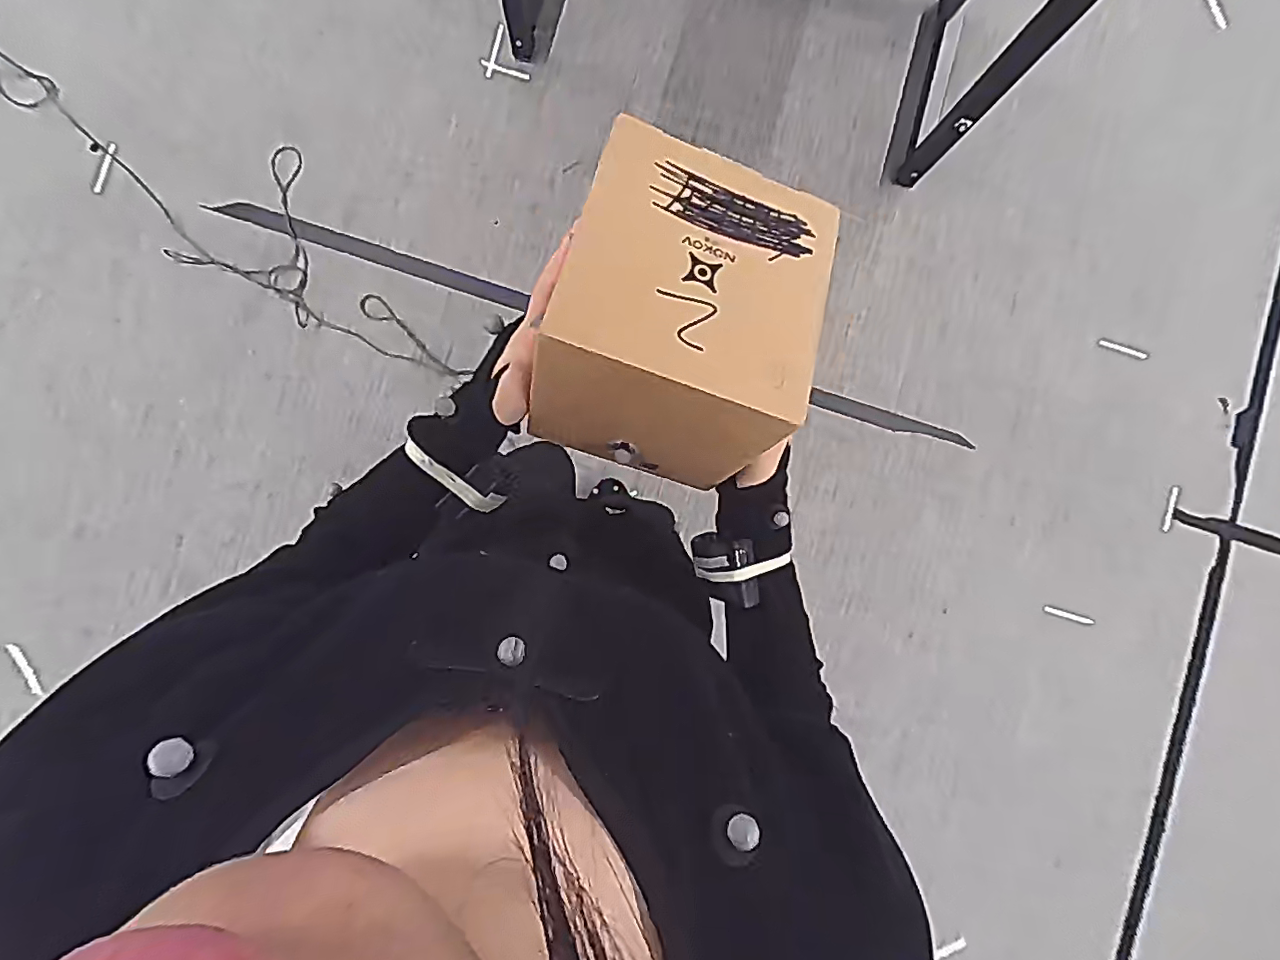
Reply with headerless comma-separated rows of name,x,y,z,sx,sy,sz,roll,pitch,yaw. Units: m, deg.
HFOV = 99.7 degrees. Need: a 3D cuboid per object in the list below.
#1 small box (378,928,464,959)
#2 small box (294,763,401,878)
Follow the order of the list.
small box,-0.509,1.138,1.187,0.179,0.176,0.168,14,89,-4
small box,-0.716,0.836,1.345,0.168,0.176,0.179,11,89,-4
